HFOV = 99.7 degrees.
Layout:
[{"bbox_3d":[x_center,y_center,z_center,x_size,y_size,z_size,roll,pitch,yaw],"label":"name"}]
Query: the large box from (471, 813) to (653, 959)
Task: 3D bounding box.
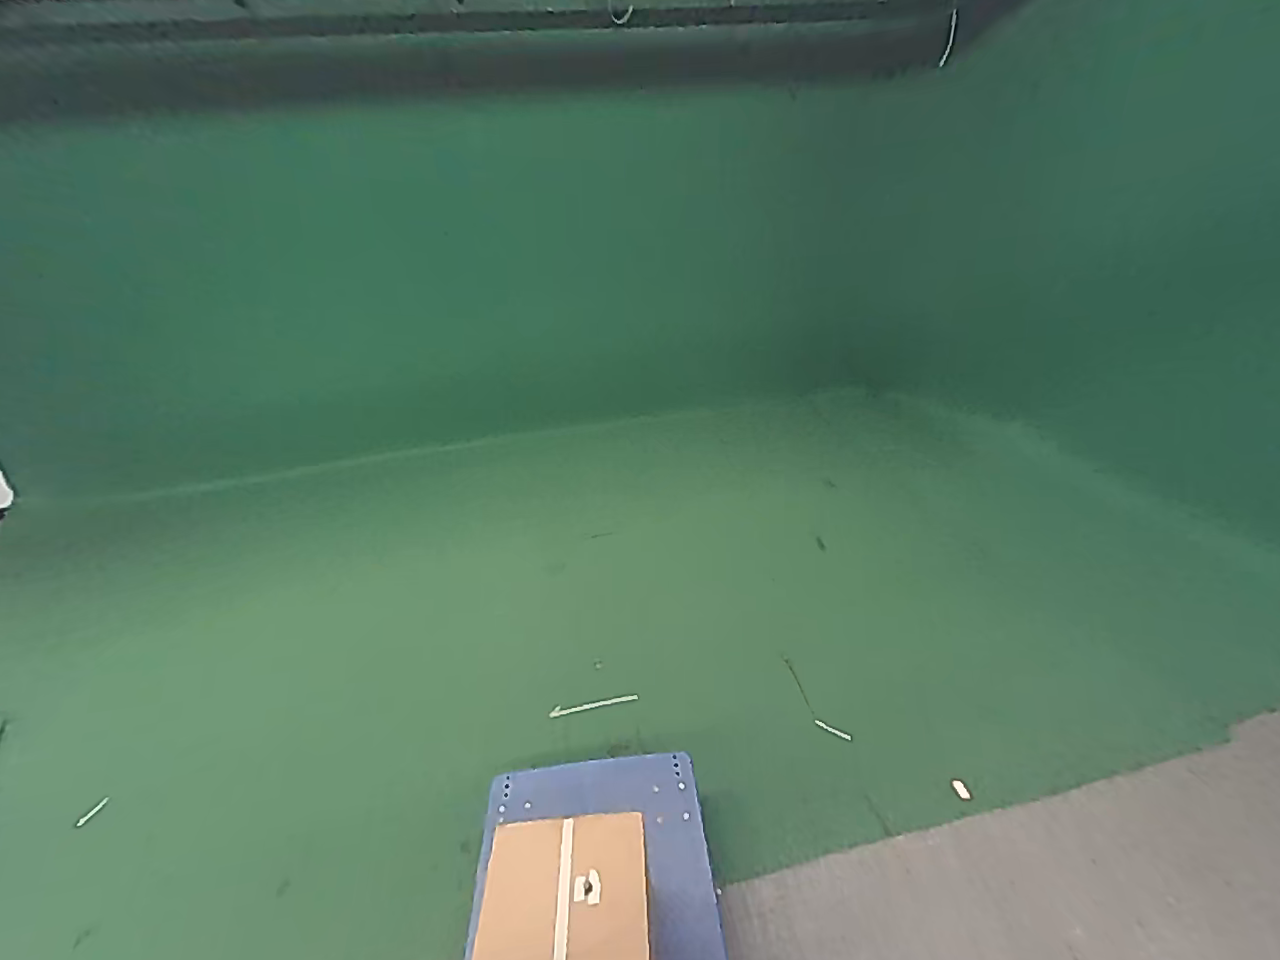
[{"bbox_3d":[-0.134,0.945,1.042,0.320,0.320,0.408,-4,28,0],"label":"large box"}]
